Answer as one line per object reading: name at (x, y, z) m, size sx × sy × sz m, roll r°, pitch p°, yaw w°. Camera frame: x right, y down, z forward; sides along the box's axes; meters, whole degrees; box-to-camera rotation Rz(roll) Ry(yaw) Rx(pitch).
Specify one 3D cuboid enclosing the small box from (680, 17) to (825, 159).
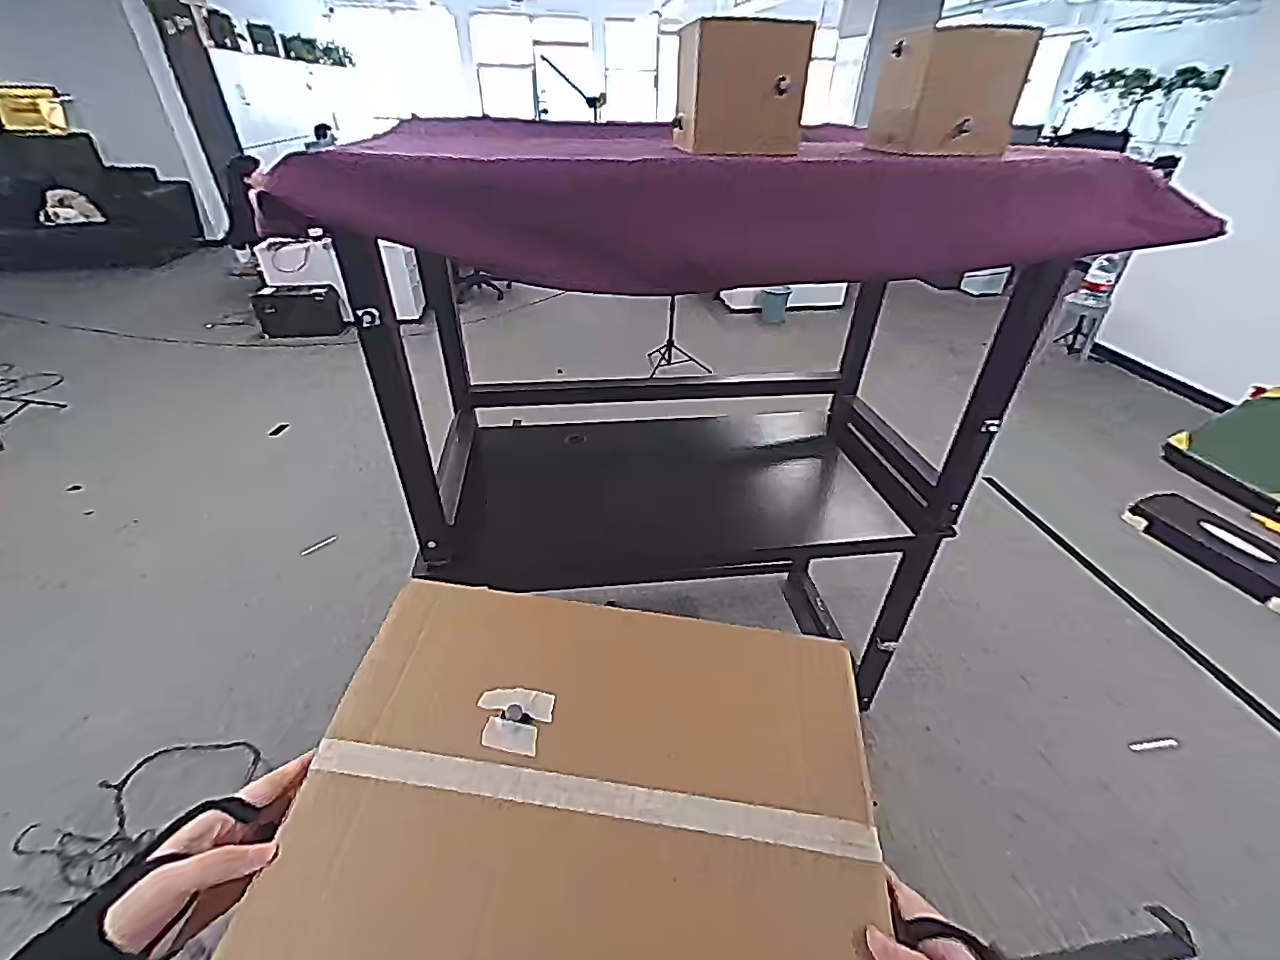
small box at (0.167, -0.620, 0.866) m, size 0.179 × 0.176 × 0.168 m, roll -4°, pitch 34°, yaw -6°

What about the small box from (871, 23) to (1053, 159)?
small box at (0.520, -0.642, 0.903) m, size 0.179 × 0.176 × 0.168 m, roll -2°, pitch 34°, yaw -5°

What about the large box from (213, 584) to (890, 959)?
large box at (-0.040, 0.326, 0.484) m, size 0.408 × 0.320 × 0.320 m, roll 7°, pitch 45°, yaw 5°
